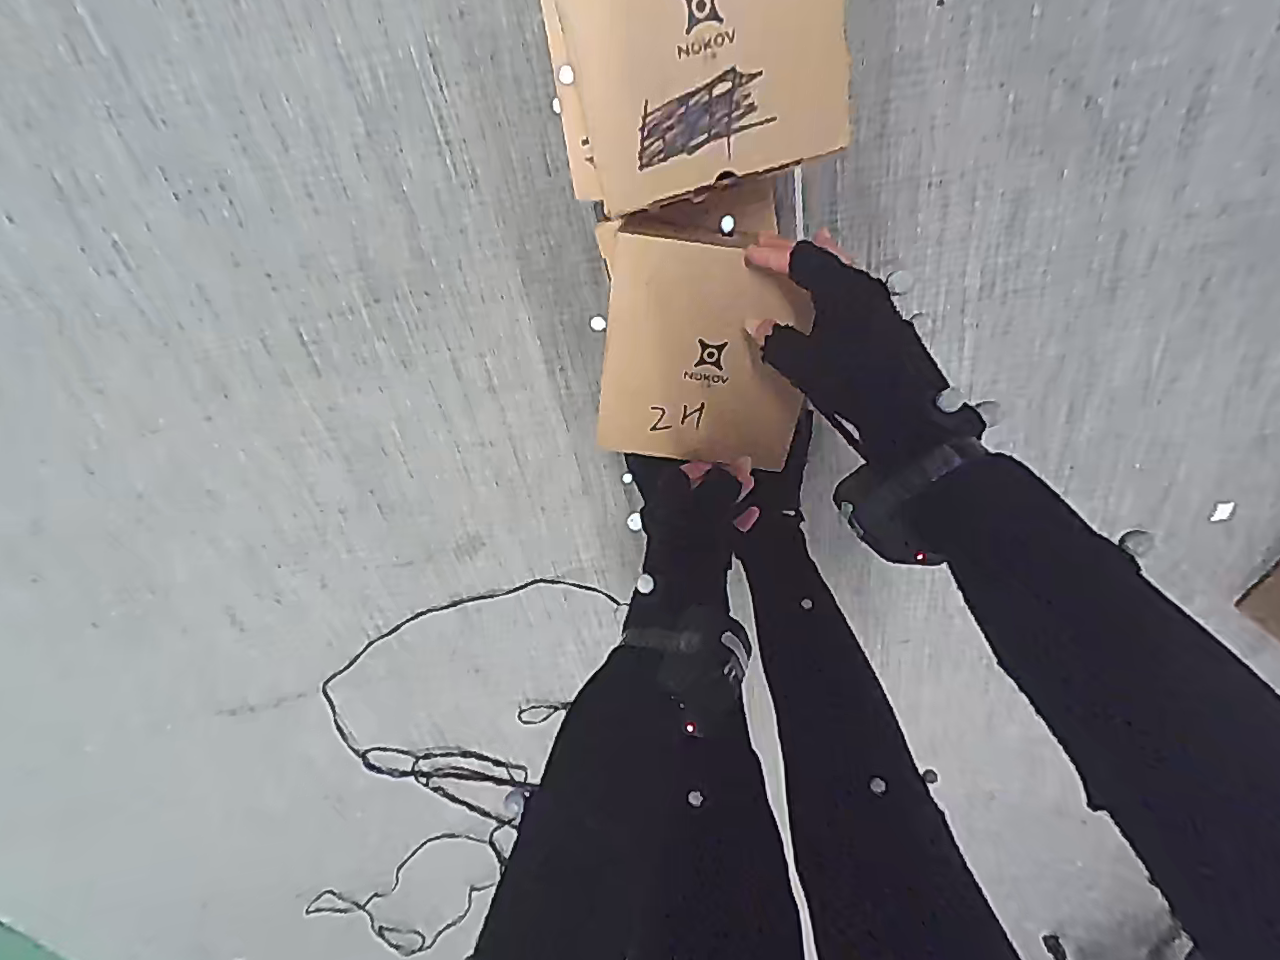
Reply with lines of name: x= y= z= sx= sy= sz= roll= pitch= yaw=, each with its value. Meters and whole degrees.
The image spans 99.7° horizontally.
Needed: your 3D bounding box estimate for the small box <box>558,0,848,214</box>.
small box: x=0.040 y=-0.311 z=0.392 sx=0.168 sy=0.176 sz=0.179 roll=-12 pitch=117 yaw=7
